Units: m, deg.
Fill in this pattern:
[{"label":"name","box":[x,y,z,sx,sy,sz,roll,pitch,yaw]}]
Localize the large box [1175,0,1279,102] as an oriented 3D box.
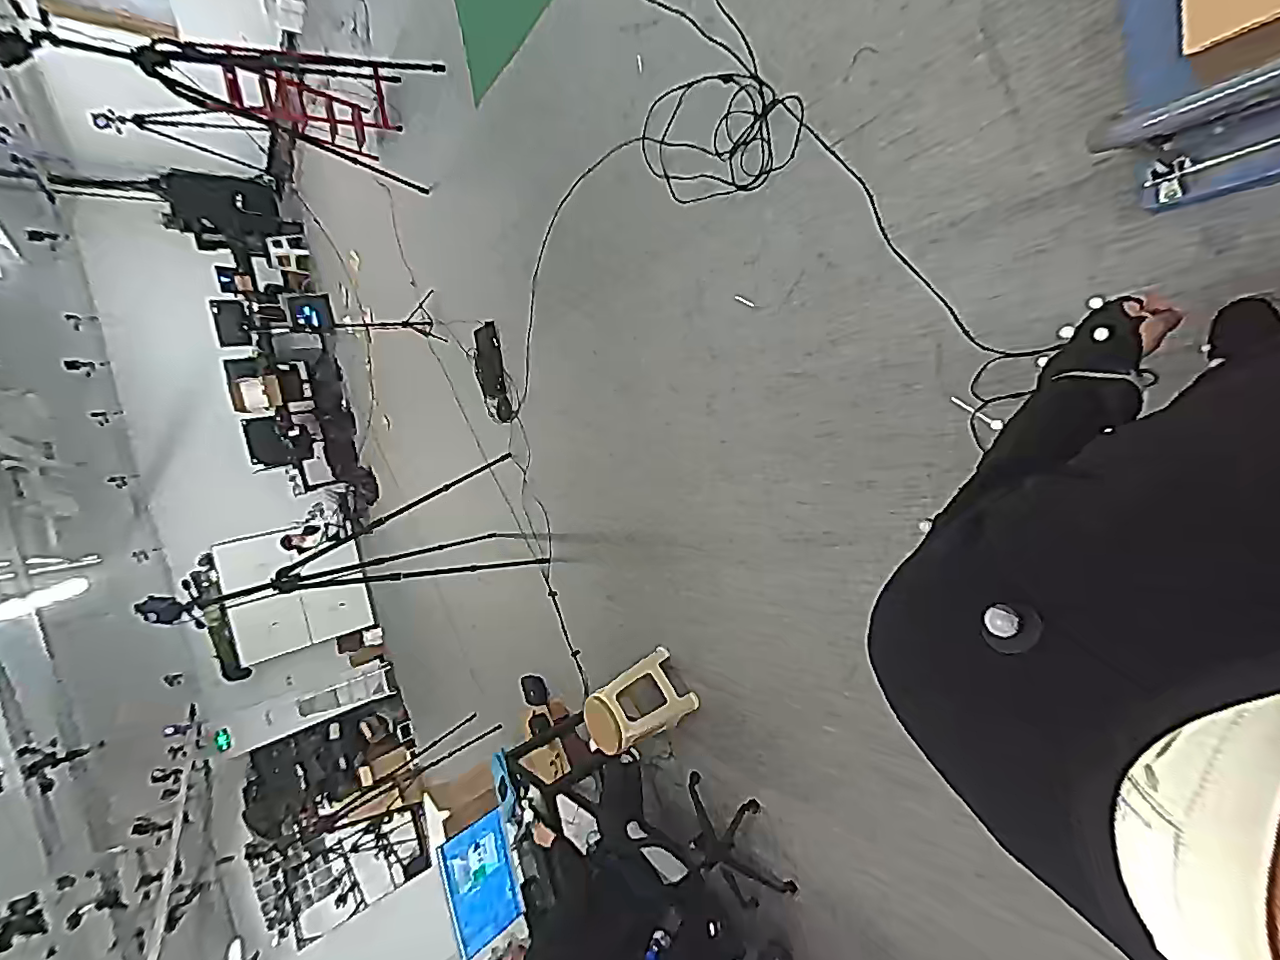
[{"label":"large box","box":[0.953,-0.827,0.723,0.320,0.320,0.408,0,102,51]}]
